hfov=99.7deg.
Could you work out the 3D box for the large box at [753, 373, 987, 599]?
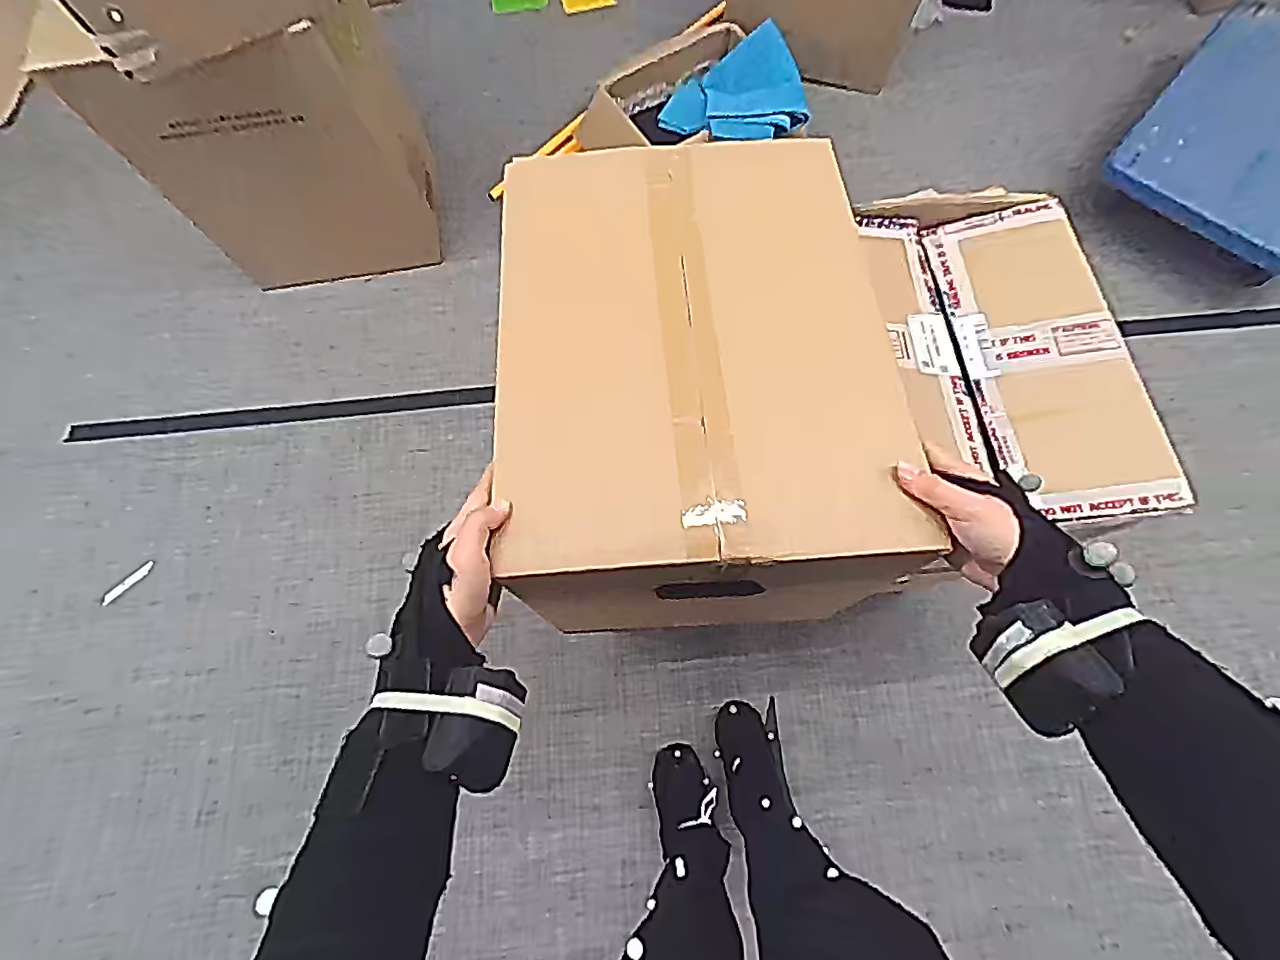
[{"bbox_3d":[0.455,0.028,1.173,0.320,0.320,0.408,-6,72,-1],"label":"large box"}]
